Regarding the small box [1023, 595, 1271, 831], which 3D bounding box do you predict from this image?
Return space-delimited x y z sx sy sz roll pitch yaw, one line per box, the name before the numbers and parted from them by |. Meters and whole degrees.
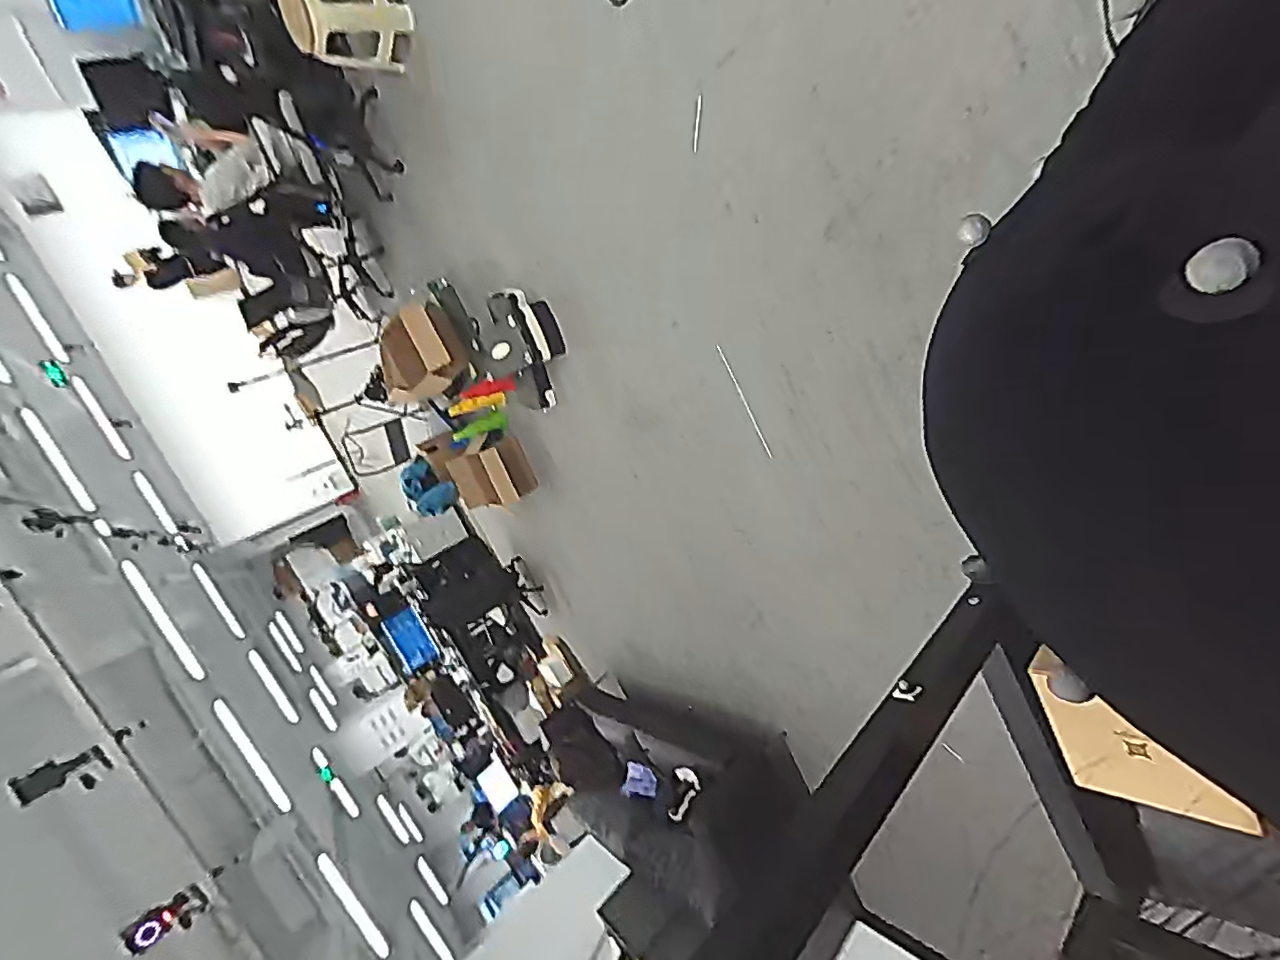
small box | 0.612 0.262 0.654 0.168 0.176 0.179 -16 103 57
